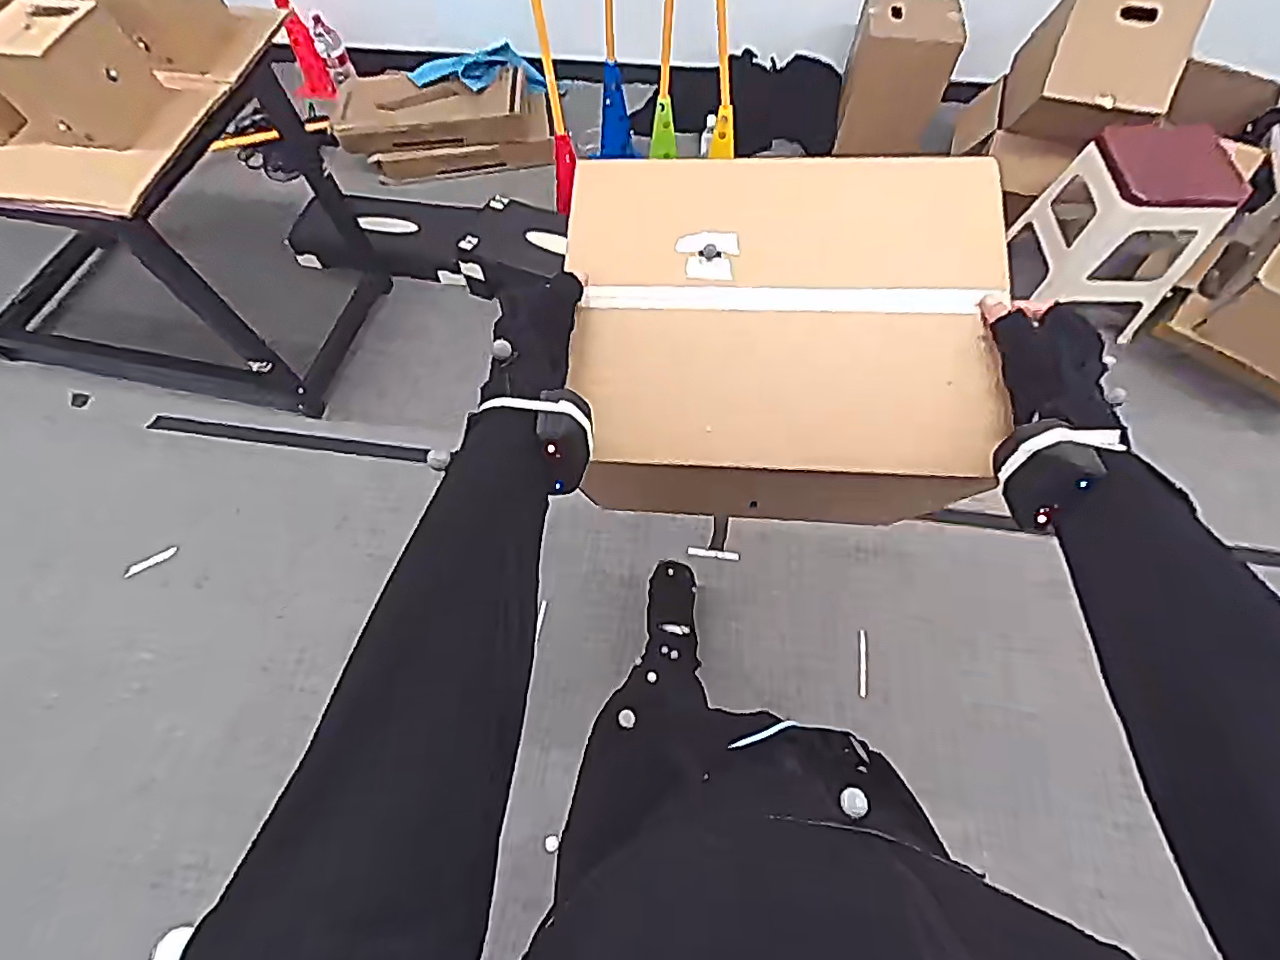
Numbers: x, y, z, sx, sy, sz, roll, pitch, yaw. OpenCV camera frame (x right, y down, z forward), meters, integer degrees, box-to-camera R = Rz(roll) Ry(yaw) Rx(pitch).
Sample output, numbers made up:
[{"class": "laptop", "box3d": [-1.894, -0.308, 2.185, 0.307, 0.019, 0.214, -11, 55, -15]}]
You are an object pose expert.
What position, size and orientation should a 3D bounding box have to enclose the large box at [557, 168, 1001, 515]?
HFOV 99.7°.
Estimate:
[{"class": "large box", "box3d": [0.143, -0.133, 0.664, 0.408, 0.320, 0.320, 3, 77, 7]}]
